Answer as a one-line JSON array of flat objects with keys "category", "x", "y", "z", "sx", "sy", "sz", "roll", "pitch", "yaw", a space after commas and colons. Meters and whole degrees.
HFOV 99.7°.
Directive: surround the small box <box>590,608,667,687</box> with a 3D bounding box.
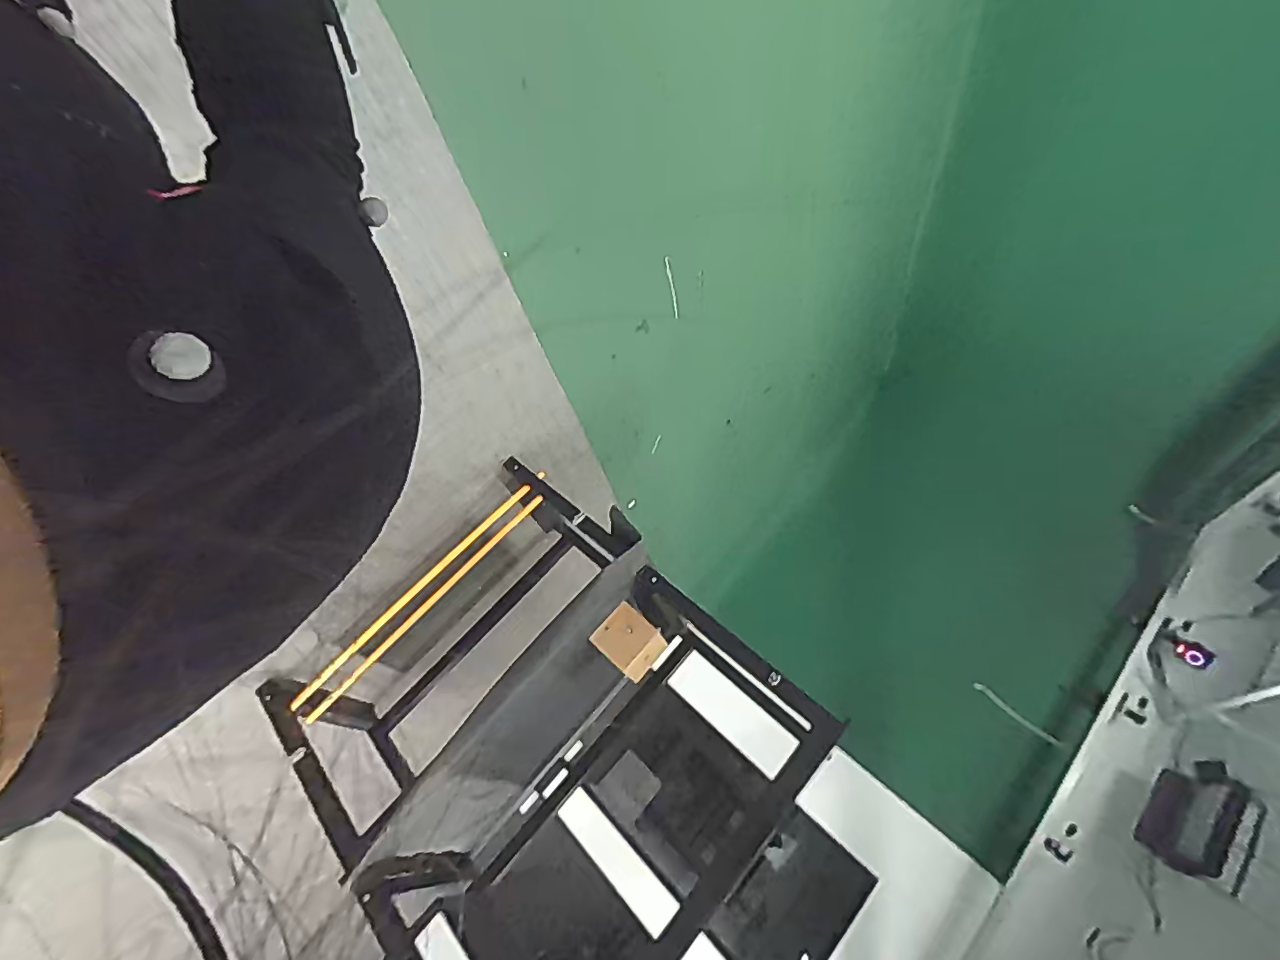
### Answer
[{"category": "small box", "x": -0.040, "y": 0.547, "z": 1.778, "sx": 0.168, "sy": 0.176, "sz": 0.179, "roll": -46, "pitch": 149, "yaw": -14}]
